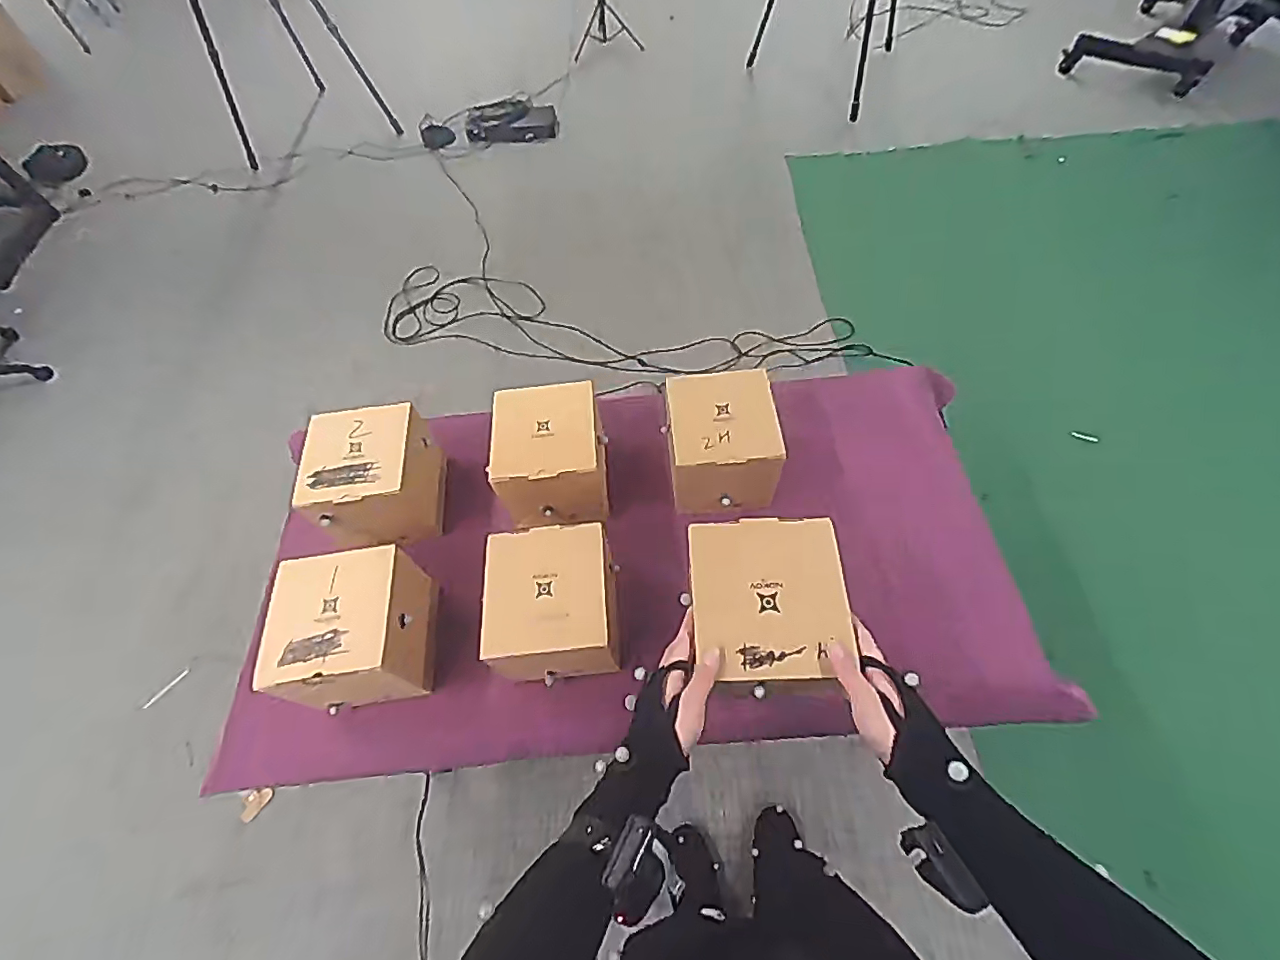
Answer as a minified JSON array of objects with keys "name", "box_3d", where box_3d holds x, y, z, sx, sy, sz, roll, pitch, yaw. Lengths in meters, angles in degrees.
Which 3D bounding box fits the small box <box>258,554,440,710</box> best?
[{"name":"small box","box_3d":[-0.409,0.231,0.796,0.168,0.176,0.179,-9,57,0]}]

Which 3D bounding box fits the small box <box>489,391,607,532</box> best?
[{"name":"small box","box_3d":[-0.150,-0.028,0.930,0.168,0.176,0.179,-7,61,1]}]

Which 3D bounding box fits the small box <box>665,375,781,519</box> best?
[{"name":"small box","box_3d":[0.131,-0.051,0.916,0.168,0.176,0.179,-6,60,3]}]

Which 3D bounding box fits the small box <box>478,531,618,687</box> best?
[{"name":"small box","box_3d":[-0.125,0.194,0.797,0.168,0.176,0.179,-6,60,2]}]
